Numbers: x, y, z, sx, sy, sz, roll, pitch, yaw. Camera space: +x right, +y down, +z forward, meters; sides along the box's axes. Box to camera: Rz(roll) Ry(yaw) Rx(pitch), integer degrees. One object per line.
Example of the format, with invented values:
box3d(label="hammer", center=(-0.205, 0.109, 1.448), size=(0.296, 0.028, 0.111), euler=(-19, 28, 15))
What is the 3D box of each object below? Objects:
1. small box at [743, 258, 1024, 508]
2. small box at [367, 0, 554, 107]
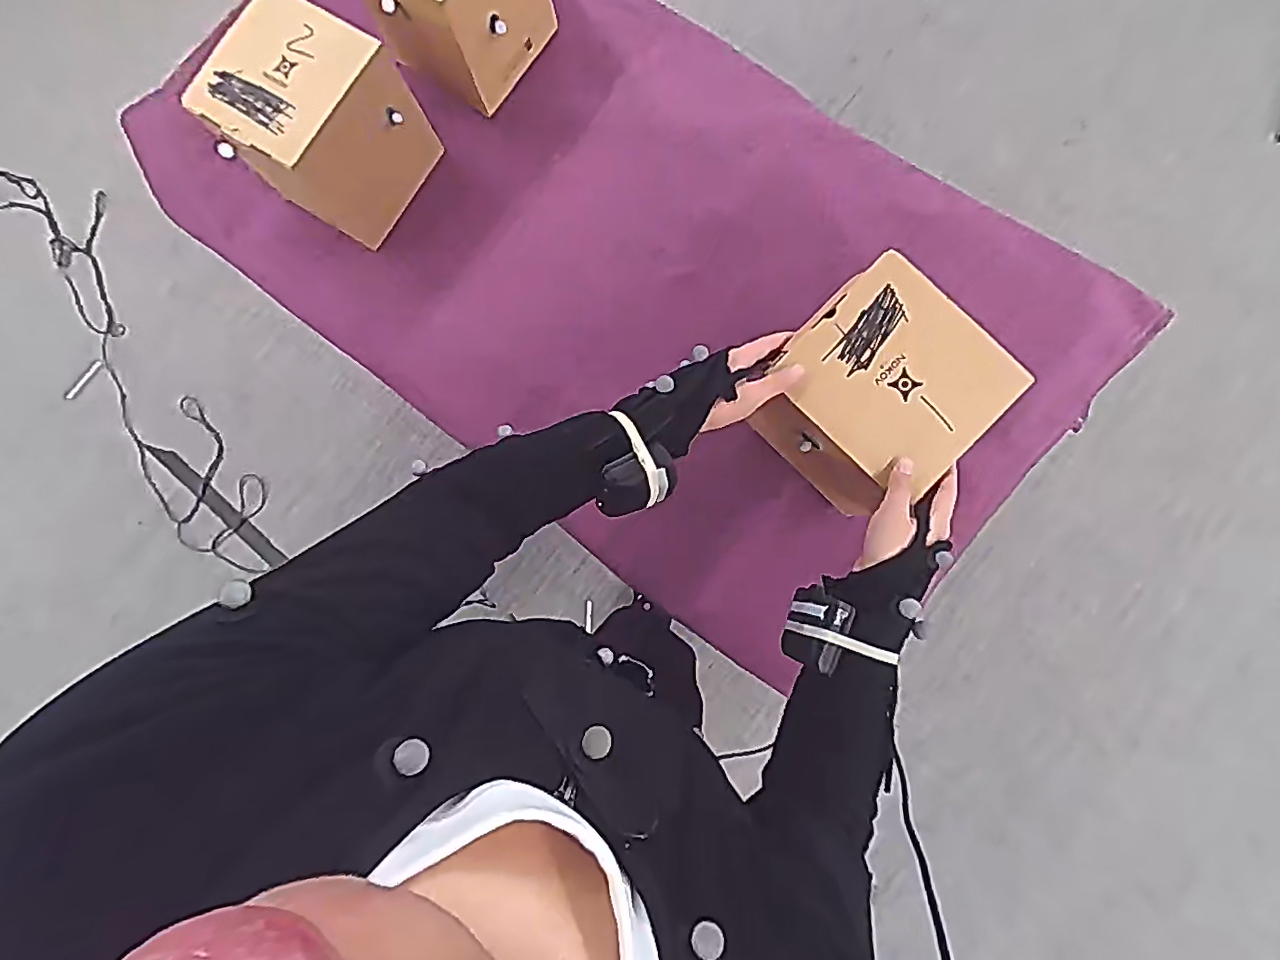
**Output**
box3d(label="small box", center=(0.229, -0.083, 0.565), size=(0.168, 0.176, 0.179), euler=(-45, 85, -1))
box3d(label="small box", center=(-0.232, -0.626, 0.686), size=(0.179, 0.176, 0.168), euler=(35, 87, 7))
